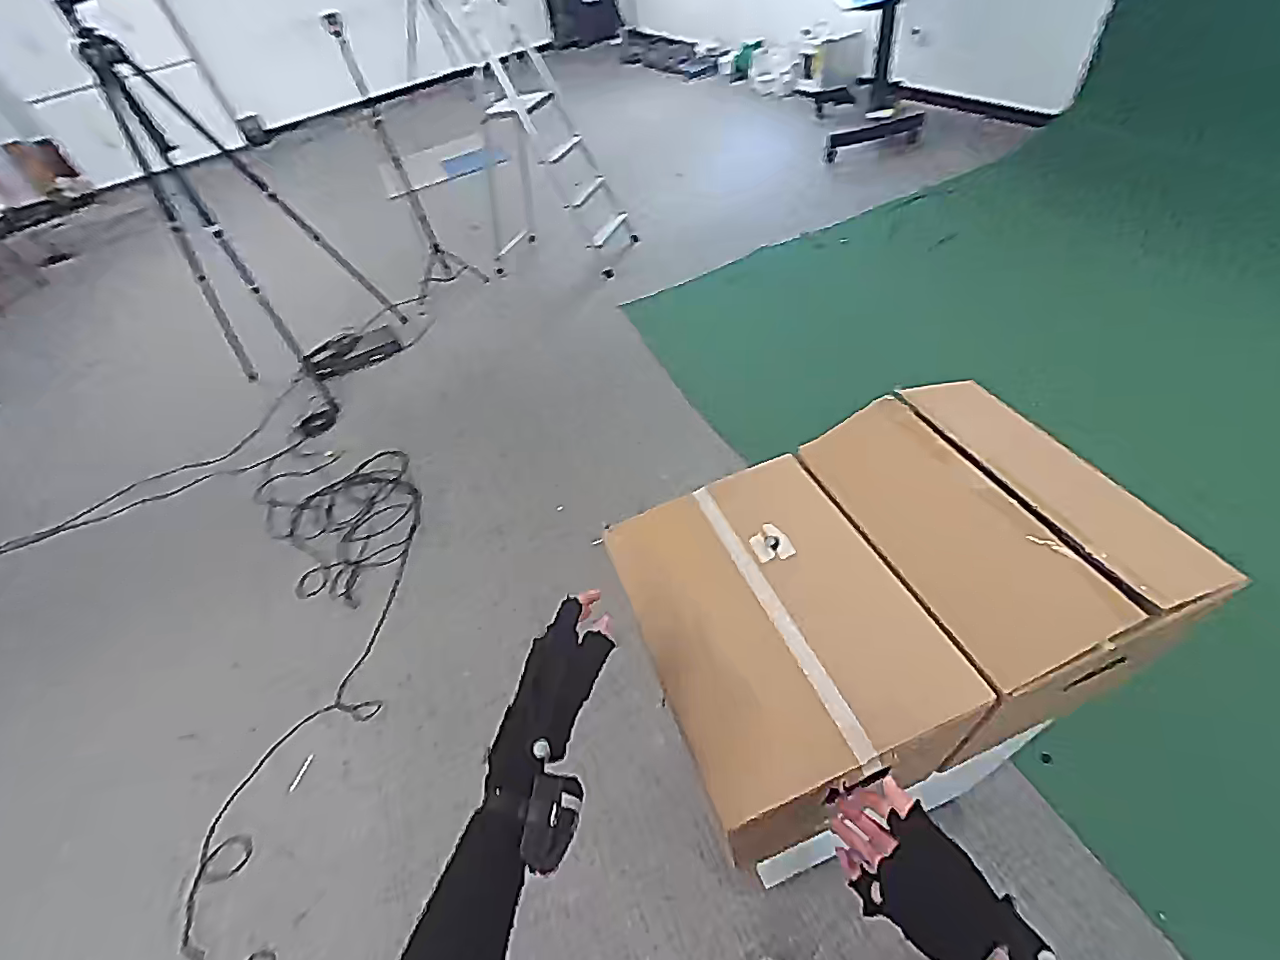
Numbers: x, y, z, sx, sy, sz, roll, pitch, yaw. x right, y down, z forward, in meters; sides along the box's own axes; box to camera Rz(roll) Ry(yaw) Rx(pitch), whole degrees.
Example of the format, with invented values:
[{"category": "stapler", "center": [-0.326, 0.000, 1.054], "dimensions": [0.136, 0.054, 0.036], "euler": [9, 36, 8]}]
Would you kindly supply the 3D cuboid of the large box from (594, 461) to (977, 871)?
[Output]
[{"category": "large box", "center": [0.170, 0.252, 0.777], "dimensions": [0.320, 0.320, 0.408], "euler": [-22, 46, -7]}]
